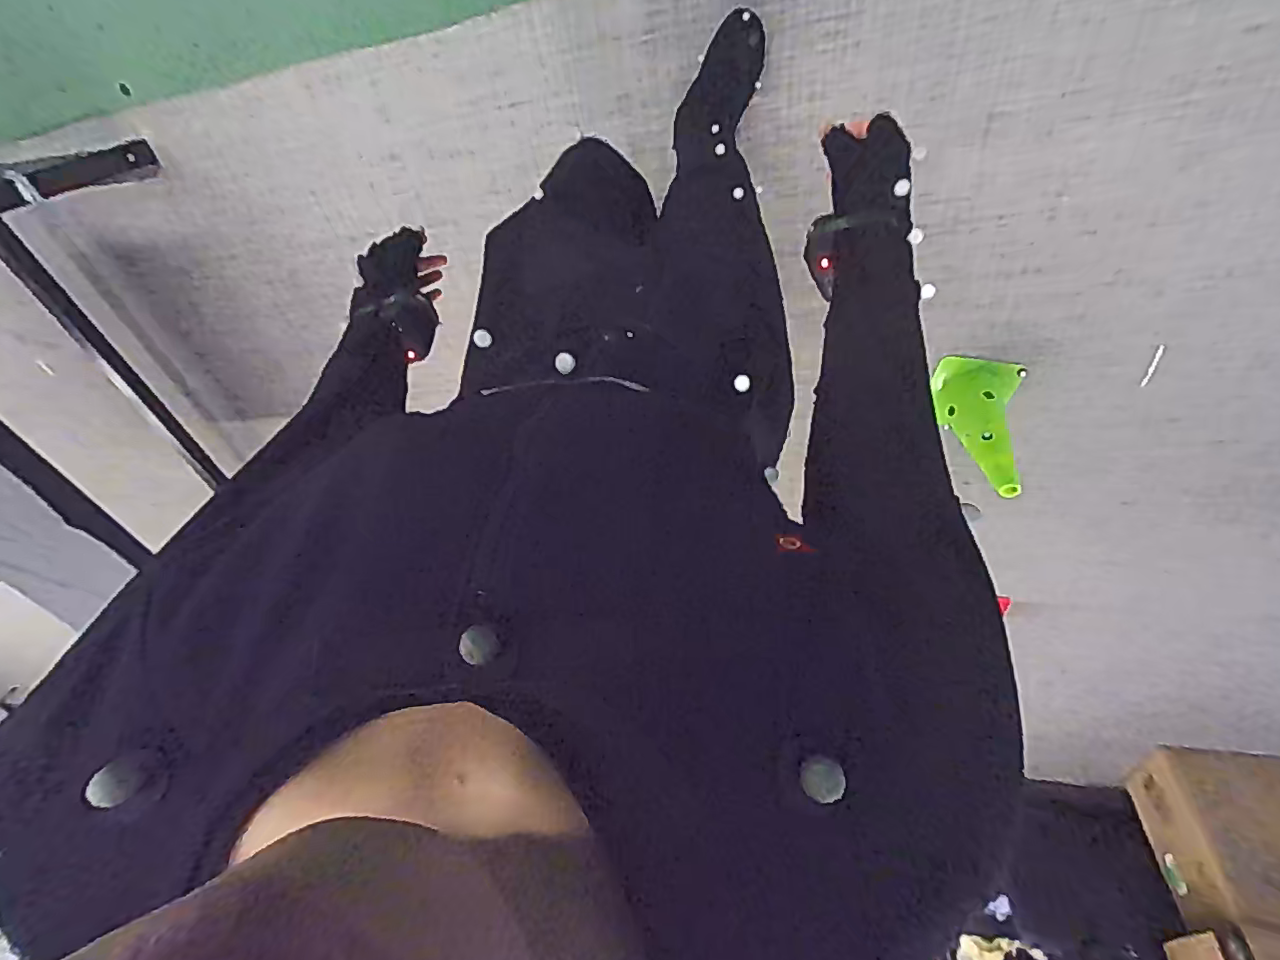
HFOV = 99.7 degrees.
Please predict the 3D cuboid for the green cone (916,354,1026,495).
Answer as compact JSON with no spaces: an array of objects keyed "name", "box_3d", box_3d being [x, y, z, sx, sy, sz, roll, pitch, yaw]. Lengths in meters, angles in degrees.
[{"name":"green cone","box_3d":[0.799,-0.109,1.246,0.200,0.368,0.202,8,135,7]}]
